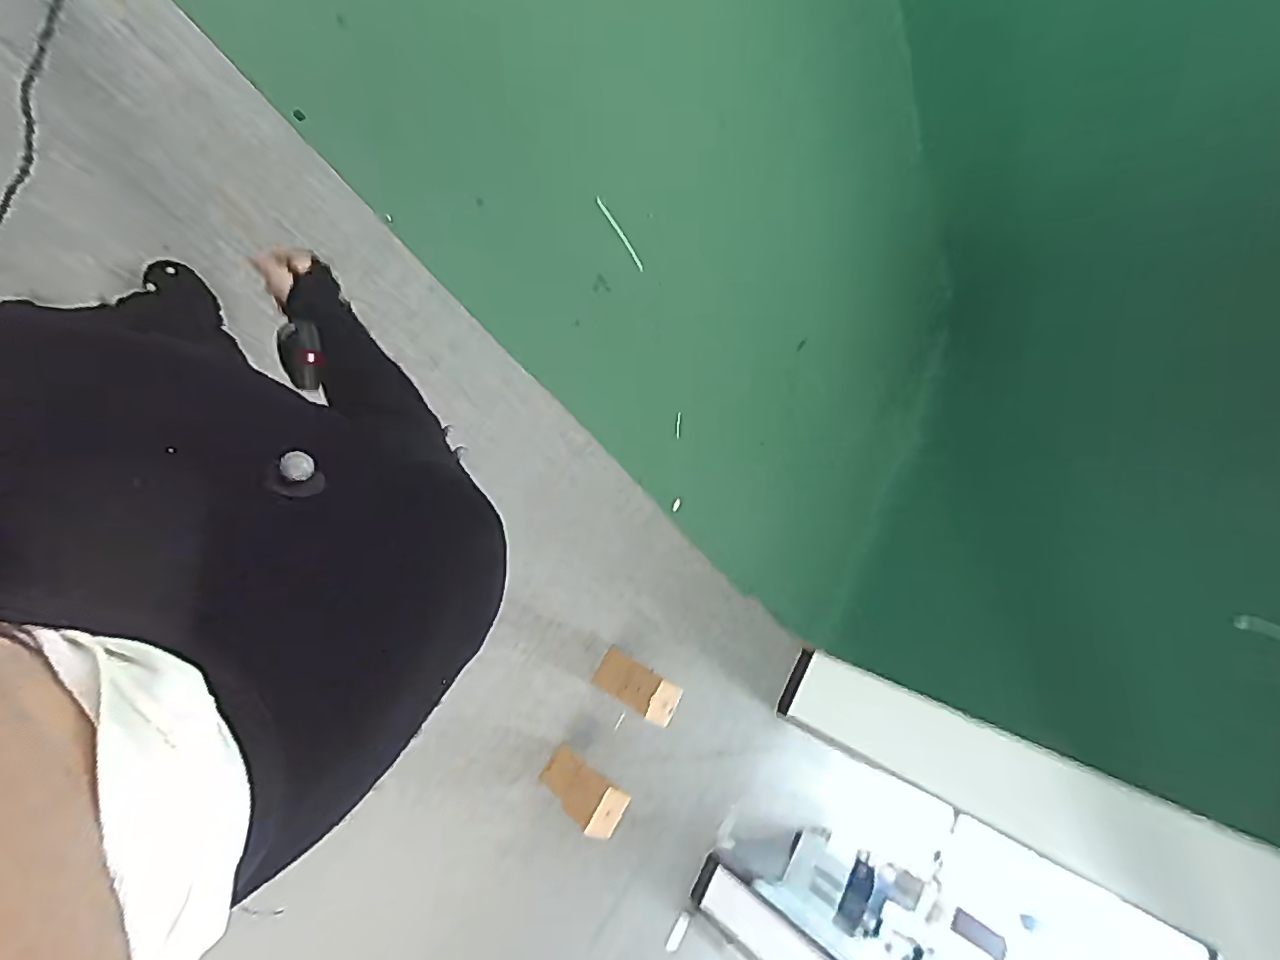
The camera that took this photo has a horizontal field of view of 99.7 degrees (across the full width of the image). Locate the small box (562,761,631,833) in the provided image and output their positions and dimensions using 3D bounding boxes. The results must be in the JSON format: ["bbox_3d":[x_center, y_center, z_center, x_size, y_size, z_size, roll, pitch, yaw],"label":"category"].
[{"bbox_3d":[-0.176,1.254,2.144,0.179,0.176,0.168,-57,132,-17],"label":"small box"}]

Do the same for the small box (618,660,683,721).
[{"bbox_3d":[0.040,0.876,2.259,0.179,0.176,0.168,41,72,-41],"label":"small box"}]

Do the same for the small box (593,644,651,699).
[{"bbox_3d":[-0.074,0.849,2.373,0.168,0.176,0.179,45,70,-41],"label":"small box"}]
